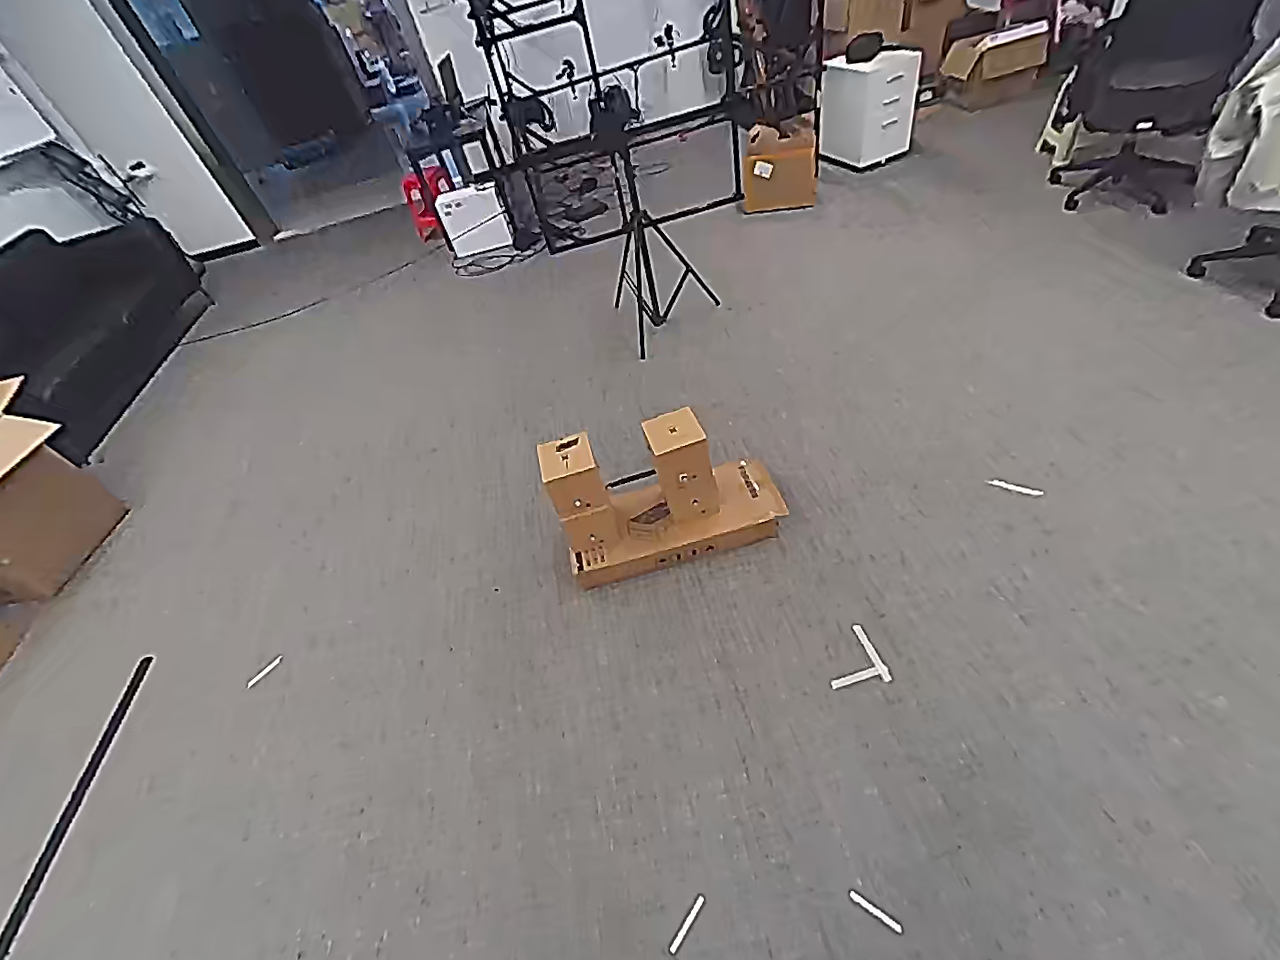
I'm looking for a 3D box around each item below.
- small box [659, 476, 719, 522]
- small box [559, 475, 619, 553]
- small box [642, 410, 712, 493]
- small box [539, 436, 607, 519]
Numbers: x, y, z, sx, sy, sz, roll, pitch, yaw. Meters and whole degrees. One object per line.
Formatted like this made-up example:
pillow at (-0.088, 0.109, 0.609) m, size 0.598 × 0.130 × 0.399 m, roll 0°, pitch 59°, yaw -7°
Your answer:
small box at (0.159, 0.021, 1.828) m, size 0.168 × 0.176 × 0.179 m, roll -18°, pitch 45°, yaw -1°
small box at (-0.177, 0.117, 1.821) m, size 0.168 × 0.176 × 0.179 m, roll -16°, pitch 44°, yaw -1°
small box at (0.117, -0.089, 1.714) m, size 0.168 × 0.176 × 0.179 m, roll -20°, pitch 45°, yaw -3°
small box at (-0.213, -0.007, 1.718) m, size 0.168 × 0.176 × 0.179 m, roll -17°, pitch 44°, yaw -2°
